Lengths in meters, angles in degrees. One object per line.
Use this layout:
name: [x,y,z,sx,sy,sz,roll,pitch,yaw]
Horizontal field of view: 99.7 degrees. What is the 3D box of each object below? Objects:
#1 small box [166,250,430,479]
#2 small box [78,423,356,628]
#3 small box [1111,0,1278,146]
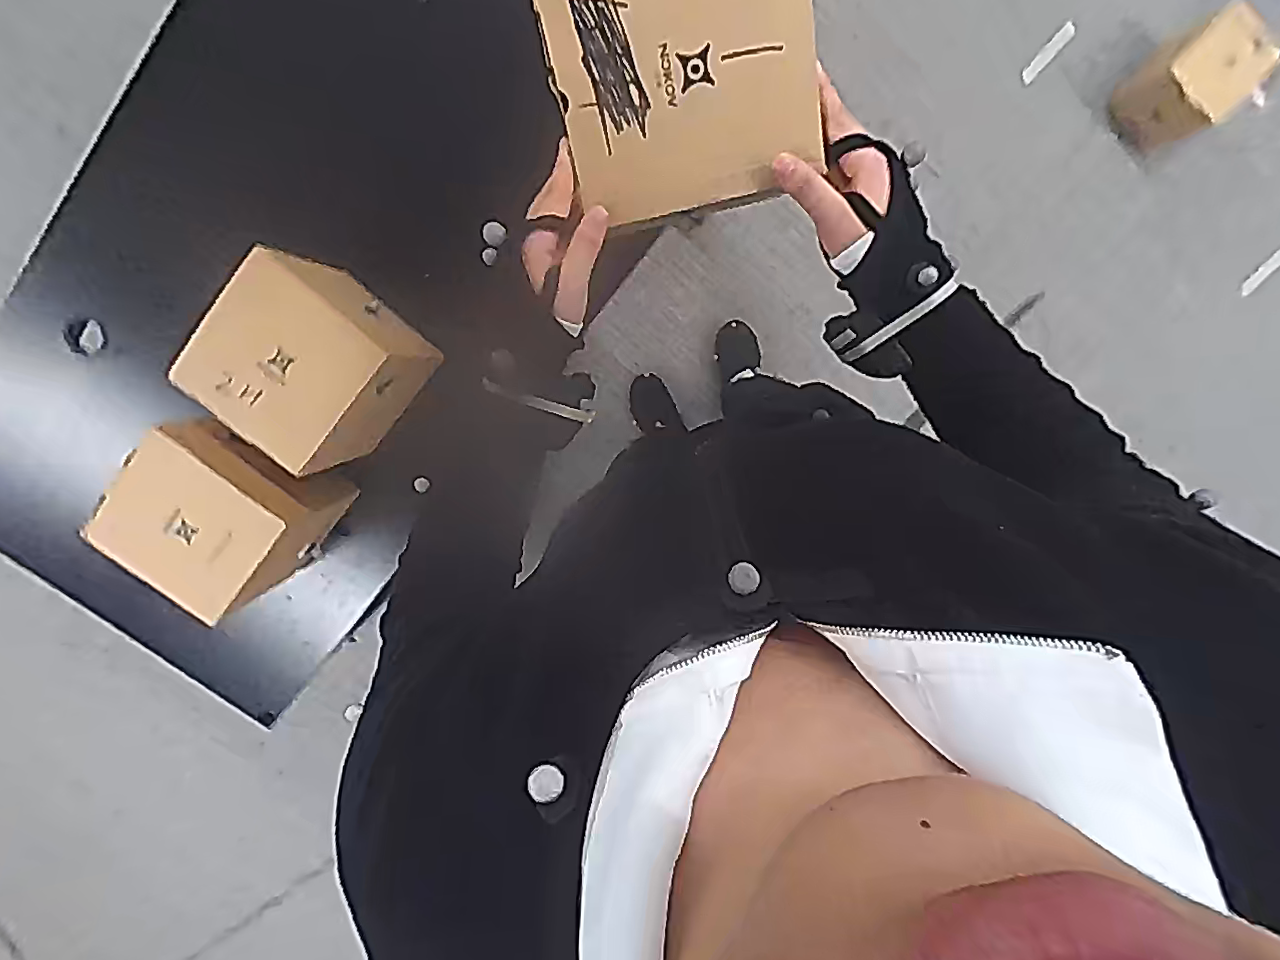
small box: [-0.376,-0.131,0.636,0.168,0.176,0.179,40,99,-8]
small box: [-0.506,0.042,0.675,0.179,0.176,0.168,39,101,-9]
small box: [1.223,-0.901,1.215,0.168,0.176,0.179,41,100,-8]
